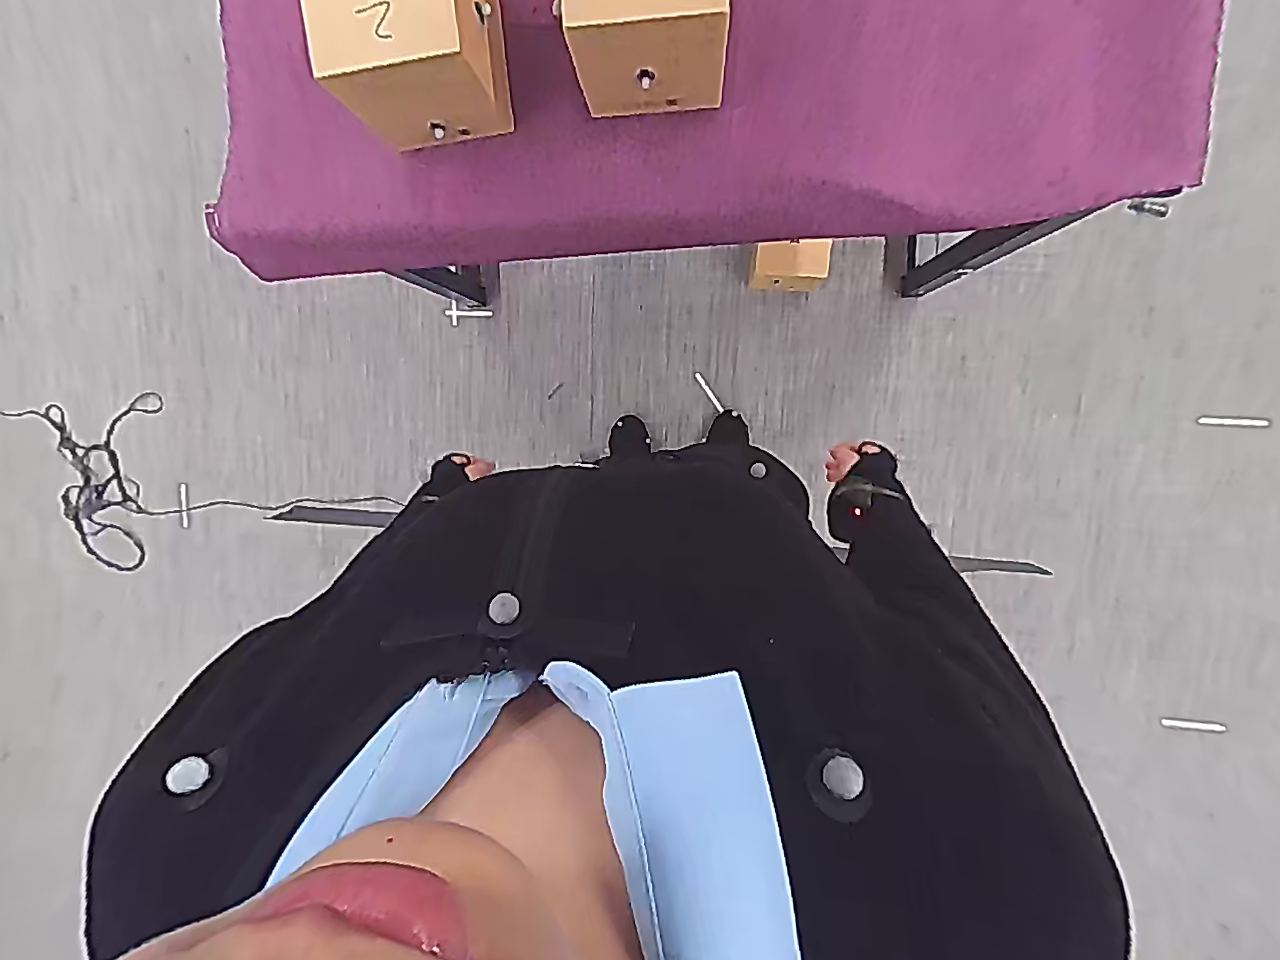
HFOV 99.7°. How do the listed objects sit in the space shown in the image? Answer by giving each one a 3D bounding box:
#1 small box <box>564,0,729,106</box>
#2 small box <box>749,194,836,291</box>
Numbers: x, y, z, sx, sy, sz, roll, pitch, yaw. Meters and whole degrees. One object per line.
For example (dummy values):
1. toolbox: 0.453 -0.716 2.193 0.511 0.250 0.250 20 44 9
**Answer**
1. small box: 0.013 -0.545 0.598 0.168 0.176 0.179 0 96 5
2. small box: 0.359 -0.564 1.303 0.168 0.176 0.179 6 98 5
